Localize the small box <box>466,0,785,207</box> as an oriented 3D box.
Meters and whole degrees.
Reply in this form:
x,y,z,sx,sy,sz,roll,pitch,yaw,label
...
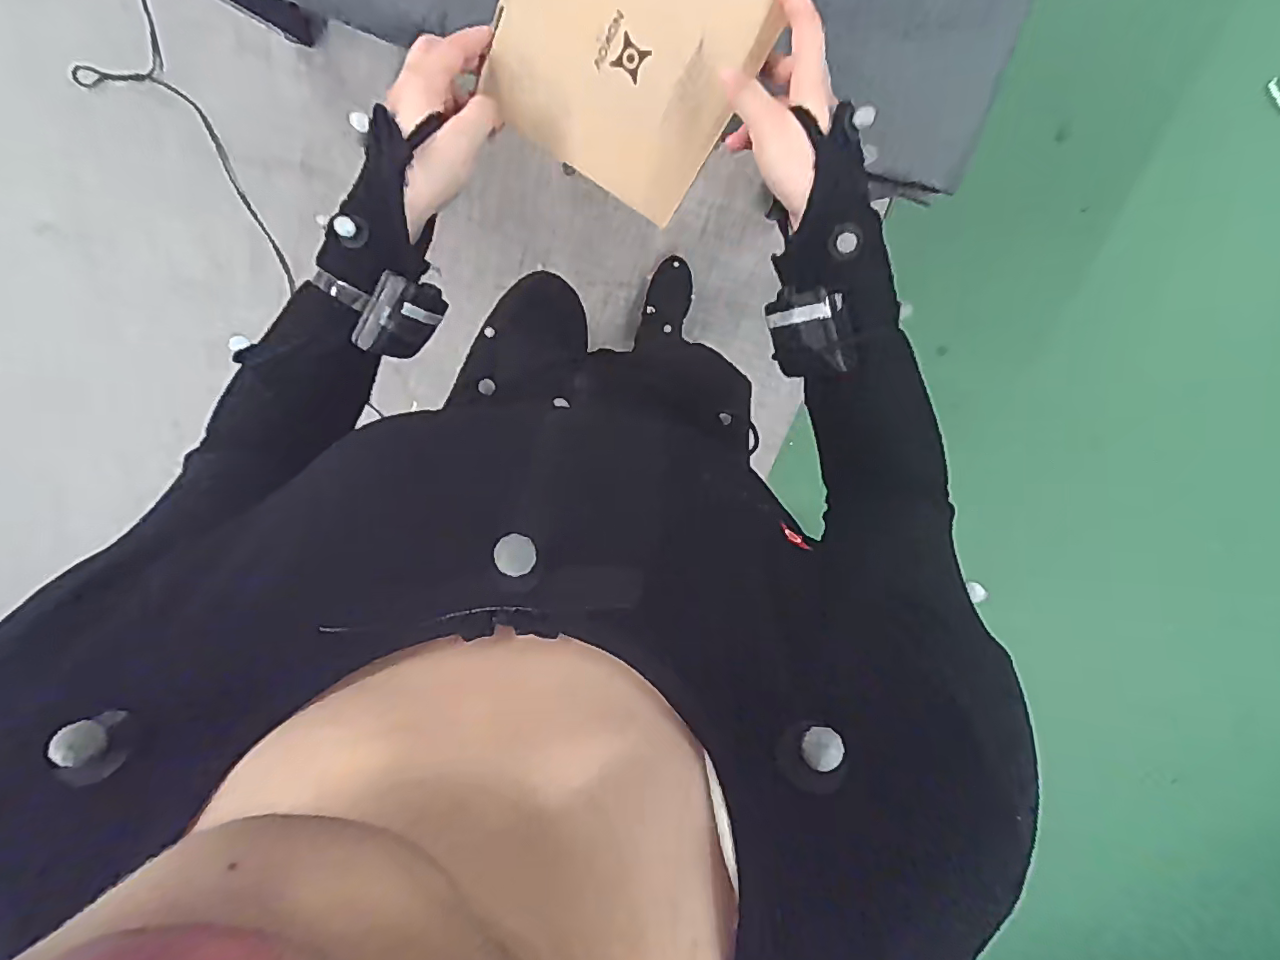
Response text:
x,y,z,sx,sy,sz,roll,pitch,yaw,label
-0.011,-0.358,0.437,0.179,0.176,0.168,25,124,-17,small box
